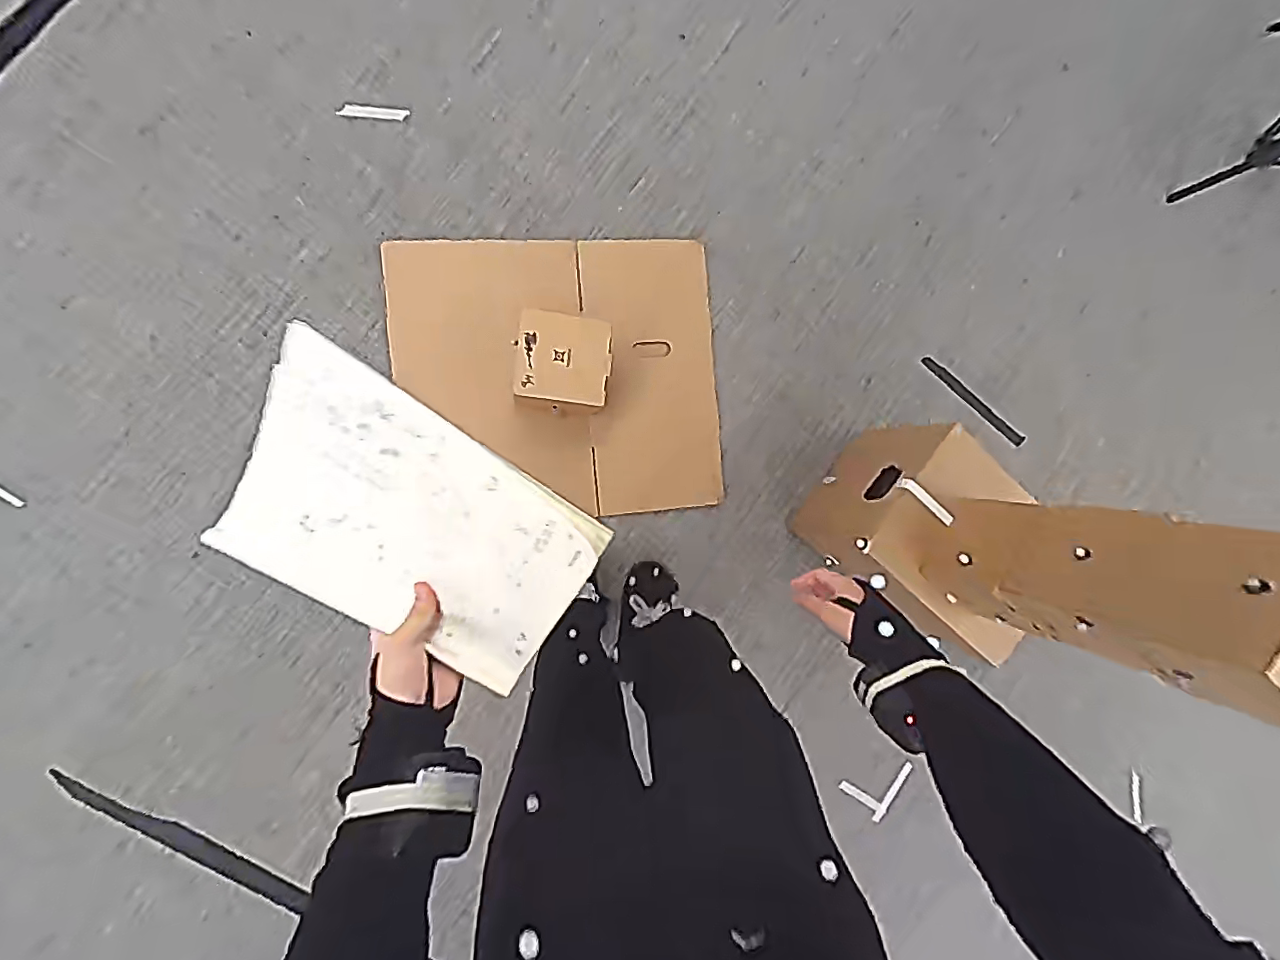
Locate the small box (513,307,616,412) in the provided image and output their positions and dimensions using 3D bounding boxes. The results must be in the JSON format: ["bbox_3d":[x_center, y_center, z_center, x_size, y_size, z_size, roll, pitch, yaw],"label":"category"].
[{"bbox_3d":[-0.158,-0.232,1.090,0.179,0.176,0.168,7,91,-14],"label":"small box"}]

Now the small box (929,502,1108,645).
[{"bbox_3d":[0.660,0.157,0.967,0.168,0.176,0.179,34,85,-12],"label":"small box"}]

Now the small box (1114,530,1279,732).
[{"bbox_3d":[0.734,0.178,0.646,0.168,0.176,0.179,37,86,-11],"label":"small box"}]
